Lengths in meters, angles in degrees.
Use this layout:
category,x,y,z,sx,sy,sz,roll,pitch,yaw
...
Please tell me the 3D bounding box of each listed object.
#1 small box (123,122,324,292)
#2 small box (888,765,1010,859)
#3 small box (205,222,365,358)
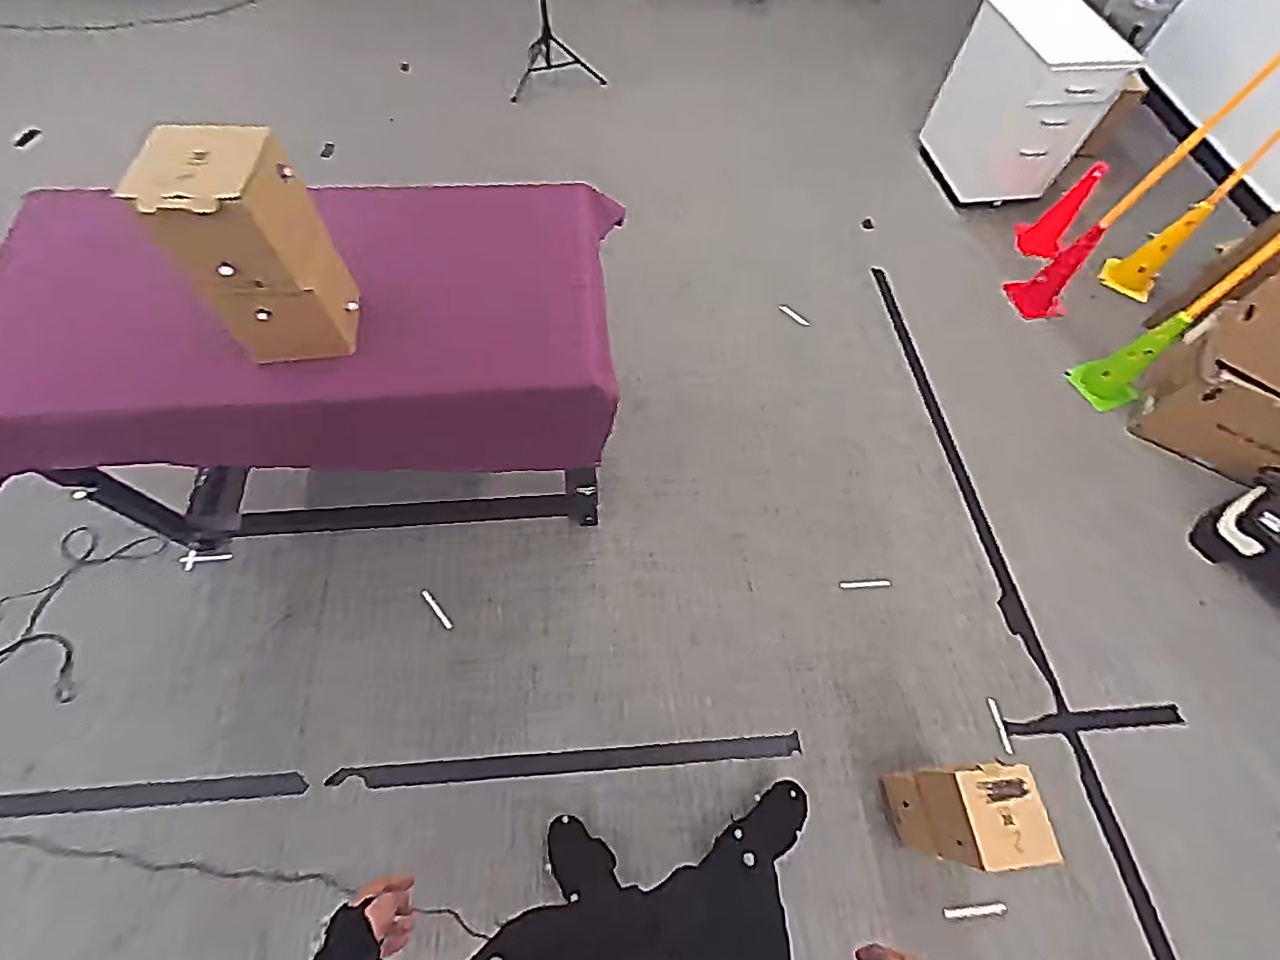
category,x,y,z,sx,sy,sz,roll,pitch,yaw
small box,-0.625,-0.420,0.842,0.168,0.176,0.179,-2,63,-4
small box,0.726,0.791,1.301,0.179,0.176,0.168,-6,63,-7
small box,-0.632,-0.340,0.987,0.179,0.176,0.168,-6,63,-7
